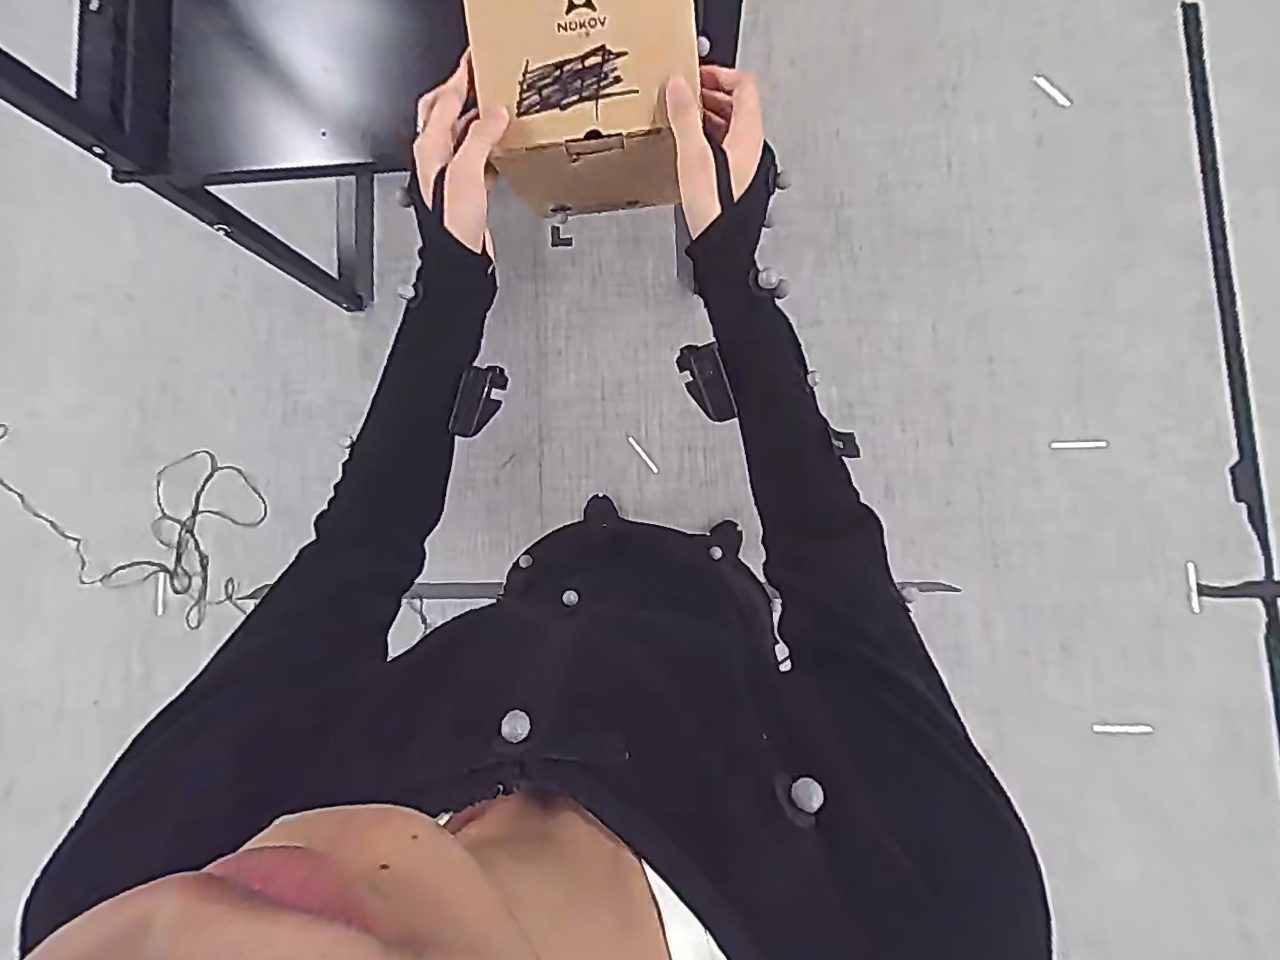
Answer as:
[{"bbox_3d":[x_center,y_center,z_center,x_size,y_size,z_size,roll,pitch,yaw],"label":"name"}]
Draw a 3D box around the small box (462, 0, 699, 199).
[{"bbox_3d":[-0.041,-0.356,0.455,0.168,0.176,0.179,-5,98,3],"label":"small box"}]
